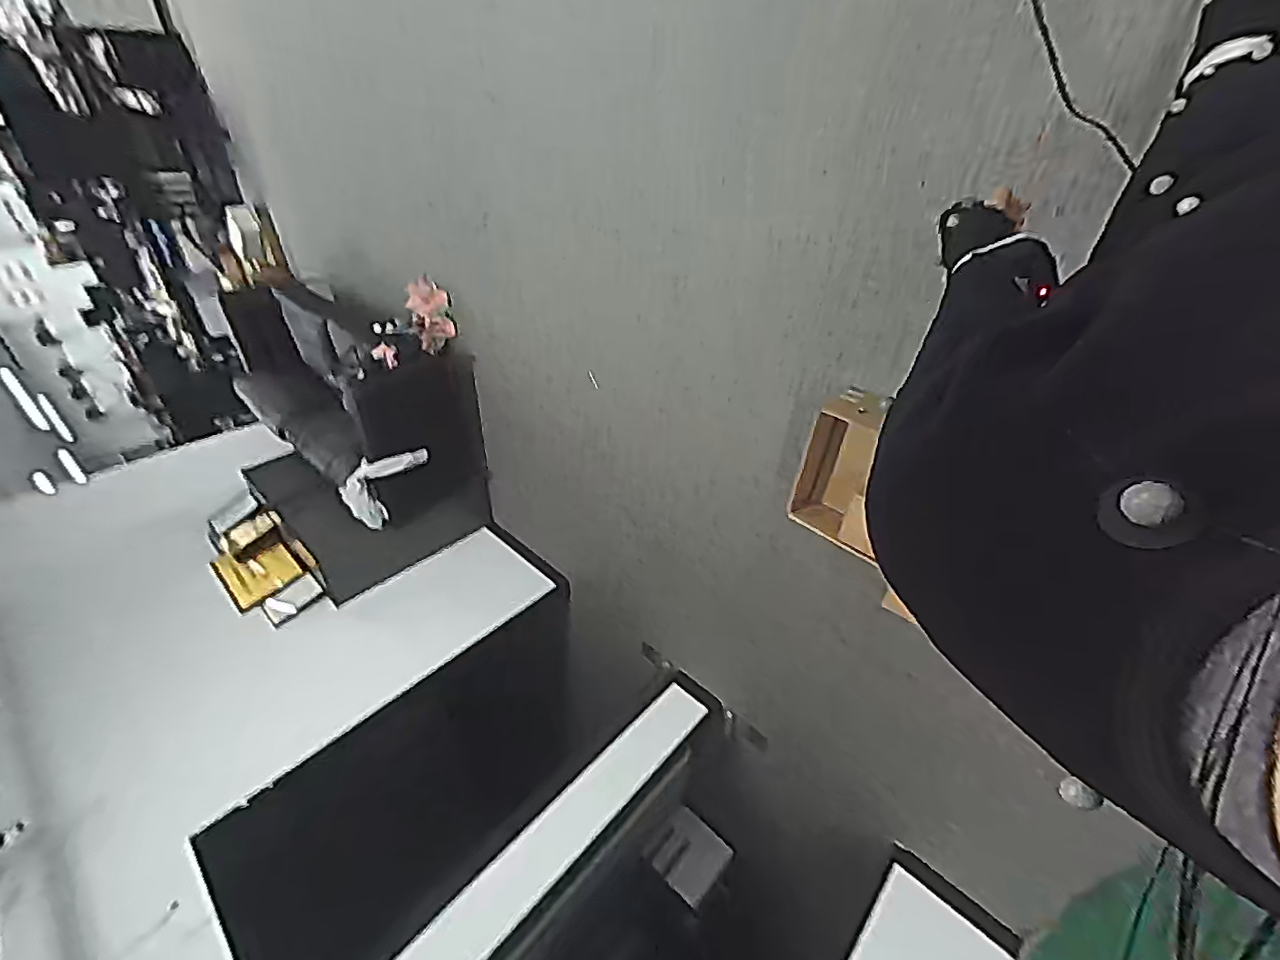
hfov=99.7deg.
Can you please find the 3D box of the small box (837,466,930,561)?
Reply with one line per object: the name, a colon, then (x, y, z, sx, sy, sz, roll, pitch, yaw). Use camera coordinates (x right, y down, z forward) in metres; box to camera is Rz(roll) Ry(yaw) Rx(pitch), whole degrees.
small box: (0.700, 0.092, 1.551, 0.168, 0.176, 0.179, 32, 134, 29)
